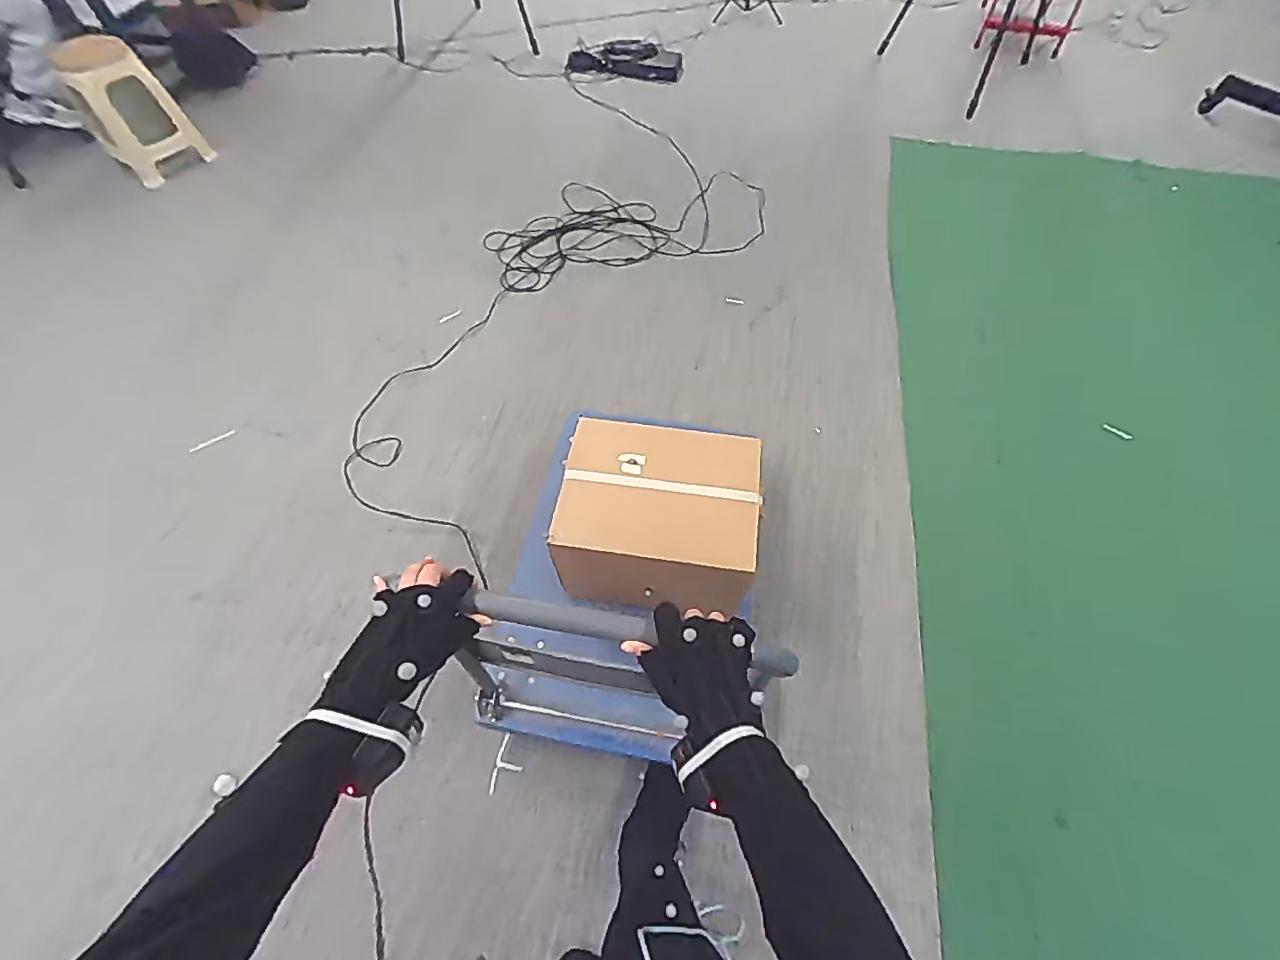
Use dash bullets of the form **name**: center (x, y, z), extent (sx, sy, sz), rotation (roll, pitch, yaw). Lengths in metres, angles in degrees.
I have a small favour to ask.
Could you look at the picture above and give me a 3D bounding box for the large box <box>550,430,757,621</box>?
- **large box**: center (0.045, 0.113, 1.247), extent (0.408, 0.320, 0.320), rotation (7, 58, 7)
